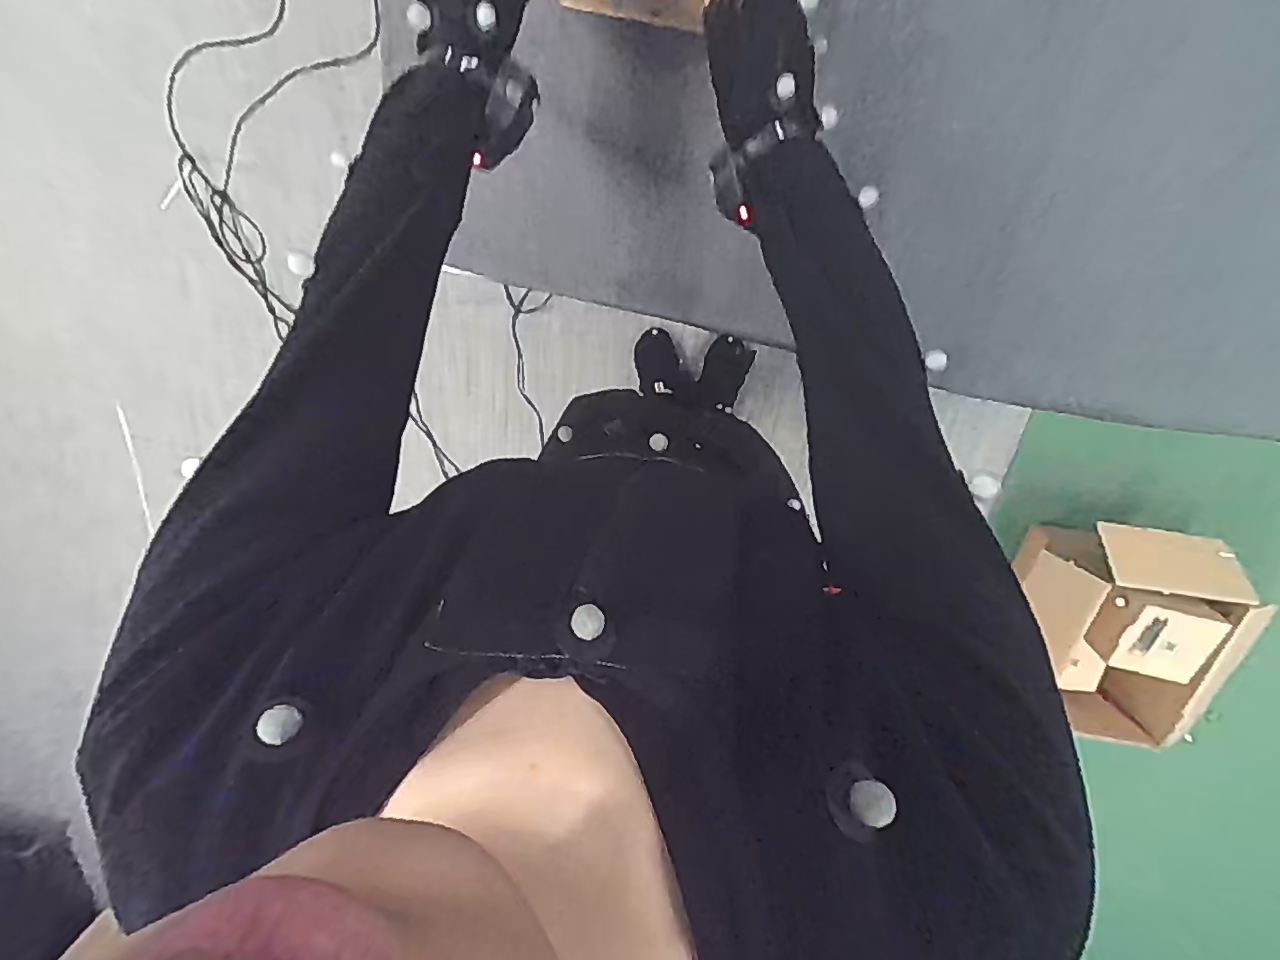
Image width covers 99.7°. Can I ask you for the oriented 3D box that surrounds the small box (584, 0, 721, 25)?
[{"bbox_3d":[0.006,-0.526,0.444,0.168,0.176,0.179,12,113,1],"label":"small box"}]
